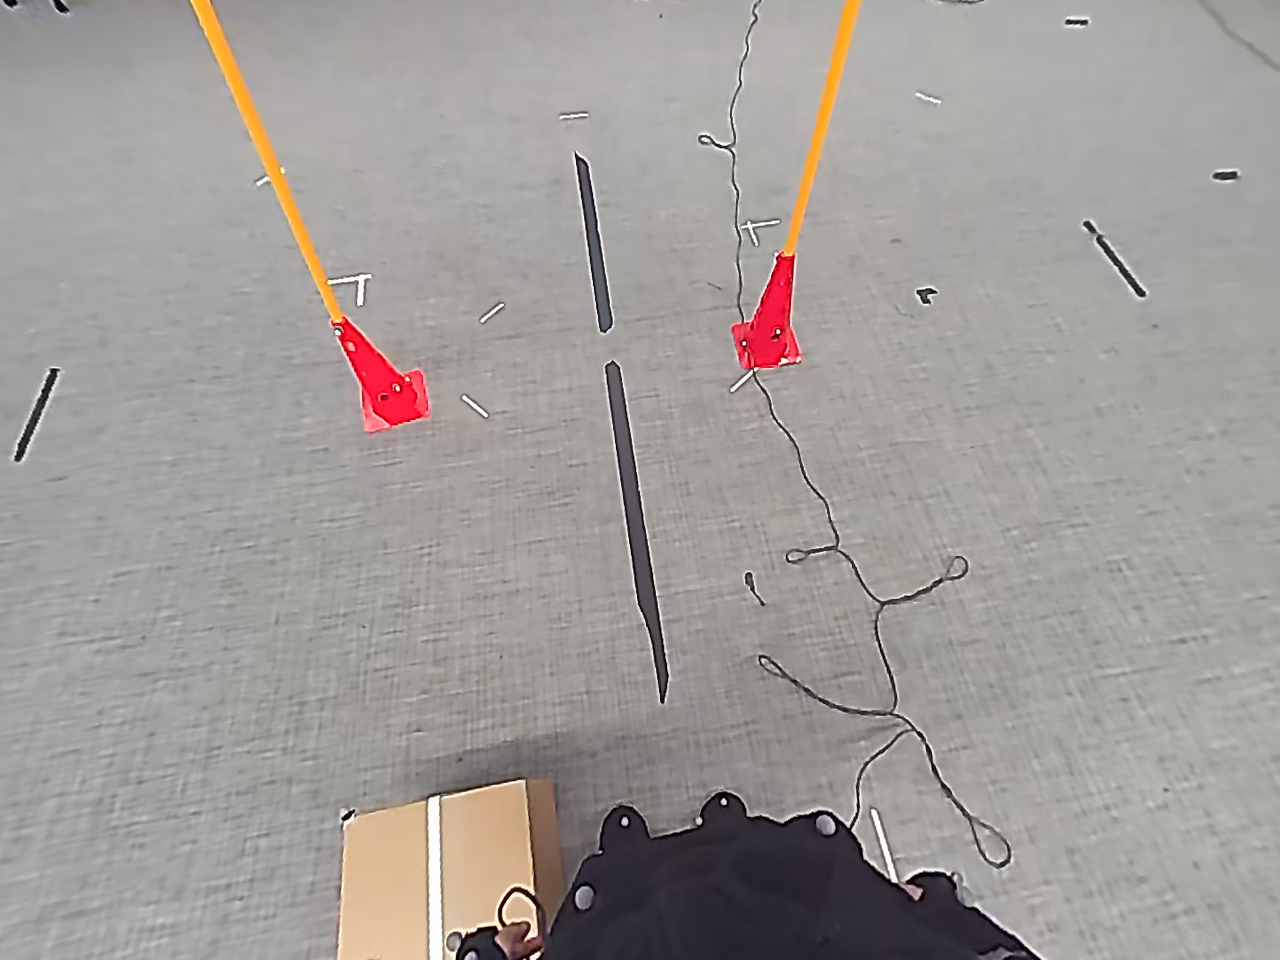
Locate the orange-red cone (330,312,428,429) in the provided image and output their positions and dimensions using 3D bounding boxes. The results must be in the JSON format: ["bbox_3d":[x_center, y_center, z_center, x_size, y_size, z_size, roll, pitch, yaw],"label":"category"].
[{"bbox_3d":[-0.779,-0.336,1.550,0.199,0.360,0.198,-16,62,-6],"label":"orange-red cone"}]
